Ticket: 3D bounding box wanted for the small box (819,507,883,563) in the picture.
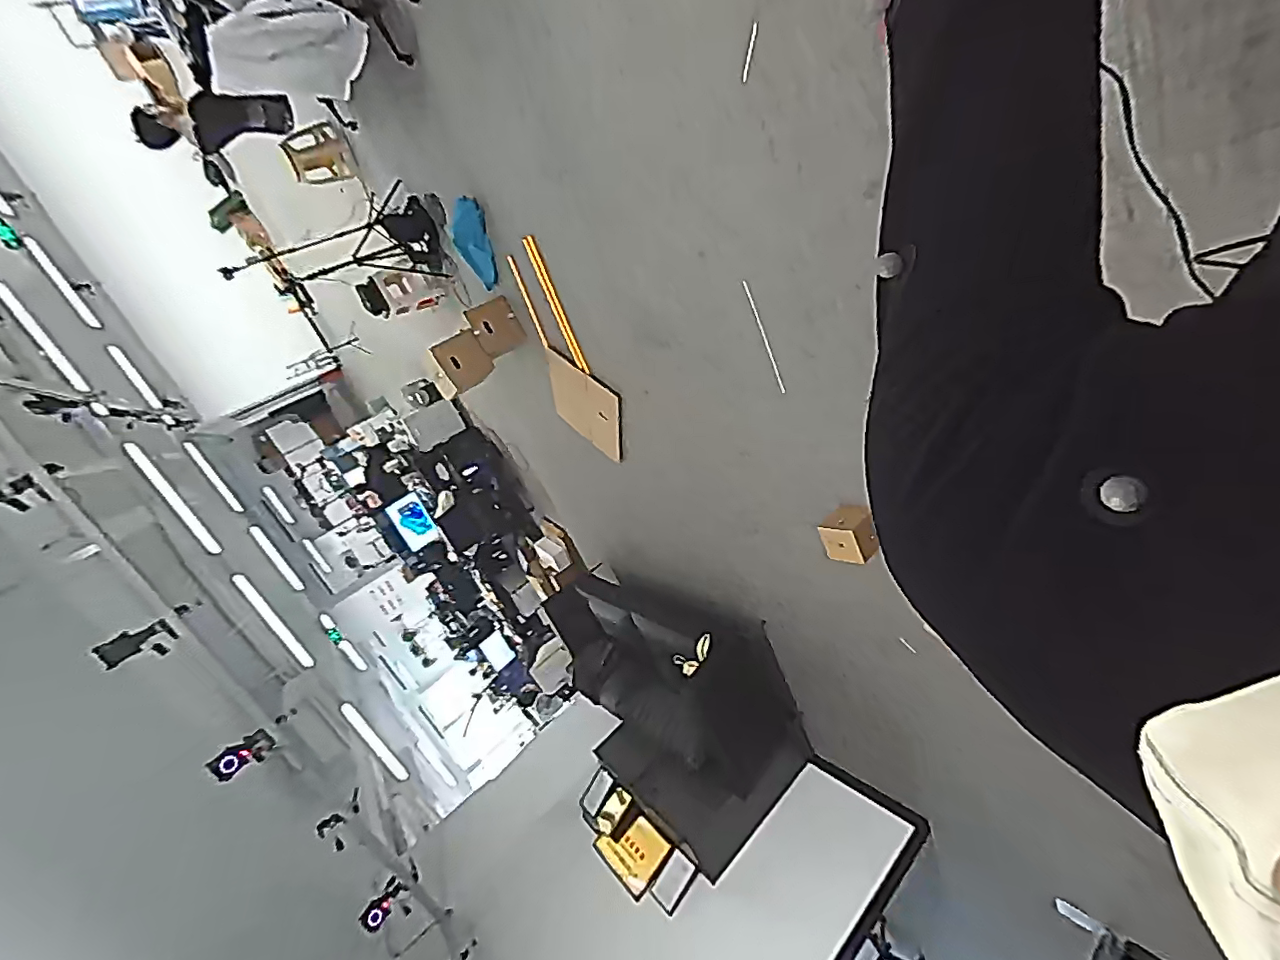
[{"bbox_3d":[0.891,0.224,2.260,0.179,0.176,0.168,2,122,58],"label":"small box"}]
